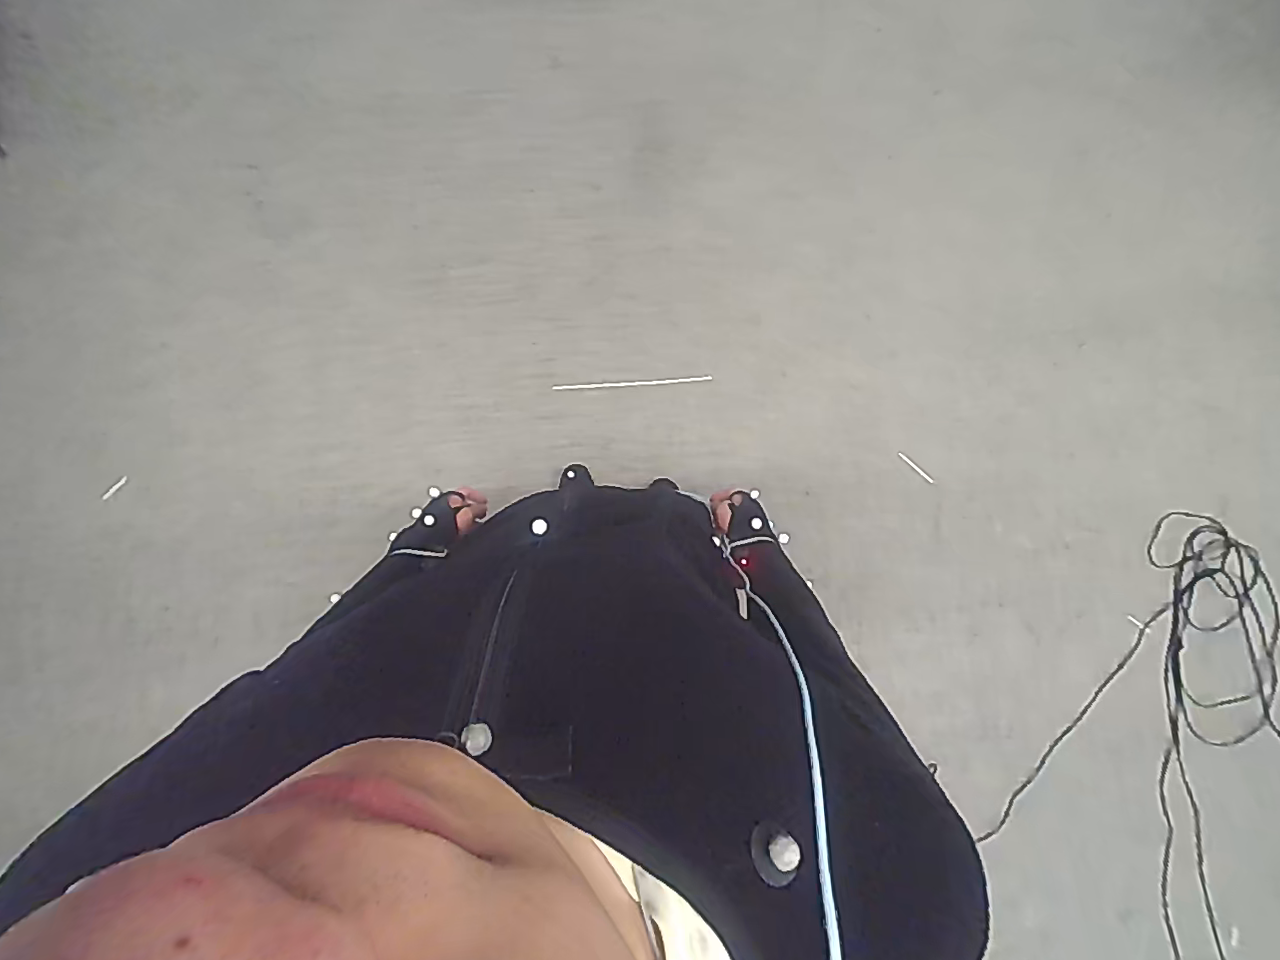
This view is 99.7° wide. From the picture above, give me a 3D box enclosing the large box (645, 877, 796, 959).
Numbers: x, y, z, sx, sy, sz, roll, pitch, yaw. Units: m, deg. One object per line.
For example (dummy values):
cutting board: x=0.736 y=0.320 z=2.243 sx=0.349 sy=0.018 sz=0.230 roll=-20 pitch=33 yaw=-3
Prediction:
large box: x=0.229 y=1.413 z=1.546 sx=0.408 sy=0.320 sz=0.320 roll=-5 pitch=91 yaw=0
